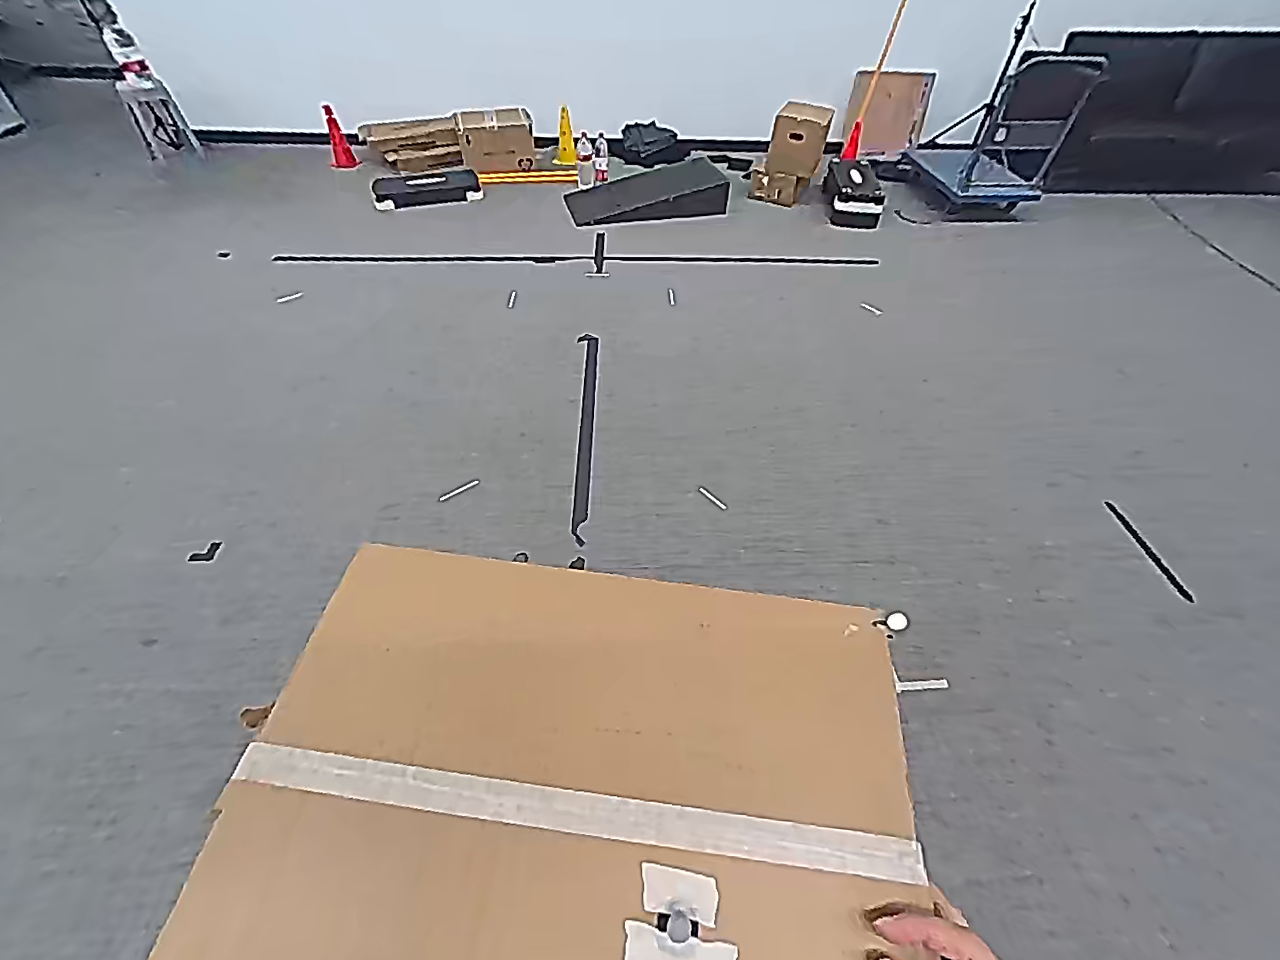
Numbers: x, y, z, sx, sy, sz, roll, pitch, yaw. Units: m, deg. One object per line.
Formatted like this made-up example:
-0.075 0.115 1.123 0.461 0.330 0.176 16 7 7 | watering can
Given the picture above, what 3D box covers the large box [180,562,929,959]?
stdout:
-0.040 0.295 0.446 0.408 0.320 0.320 7 54 3 | large box
